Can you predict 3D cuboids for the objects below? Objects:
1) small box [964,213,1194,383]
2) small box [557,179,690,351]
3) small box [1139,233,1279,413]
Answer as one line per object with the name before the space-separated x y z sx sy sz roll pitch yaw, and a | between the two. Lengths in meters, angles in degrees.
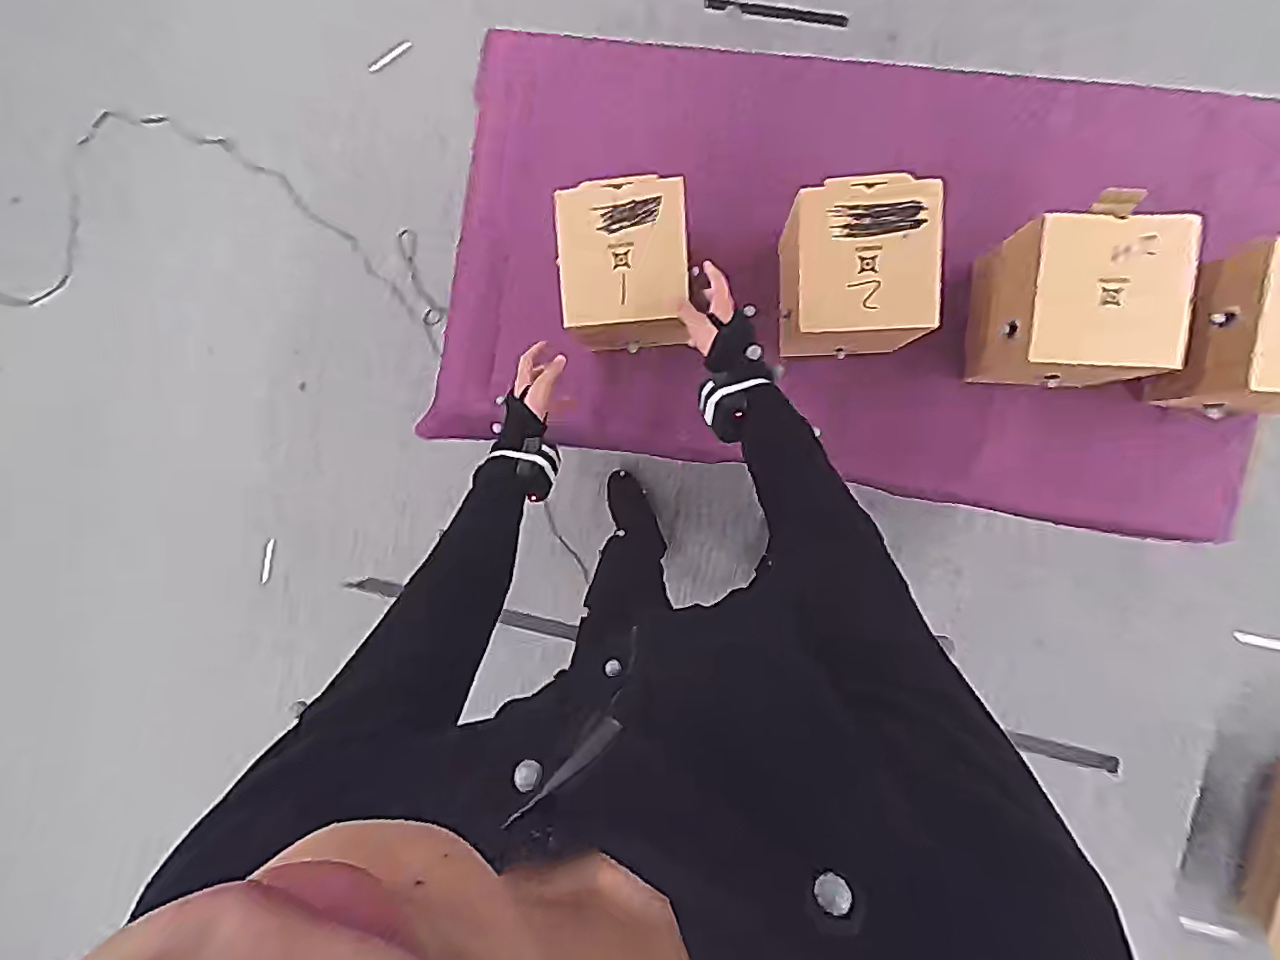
small box | 0.551 -0.225 0.707 0.168 0.176 0.179 4 93 6
small box | -0.015 -0.292 0.768 0.168 0.176 0.179 -3 93 7
small box | 0.787 -0.187 0.682 0.168 0.176 0.179 6 93 8
